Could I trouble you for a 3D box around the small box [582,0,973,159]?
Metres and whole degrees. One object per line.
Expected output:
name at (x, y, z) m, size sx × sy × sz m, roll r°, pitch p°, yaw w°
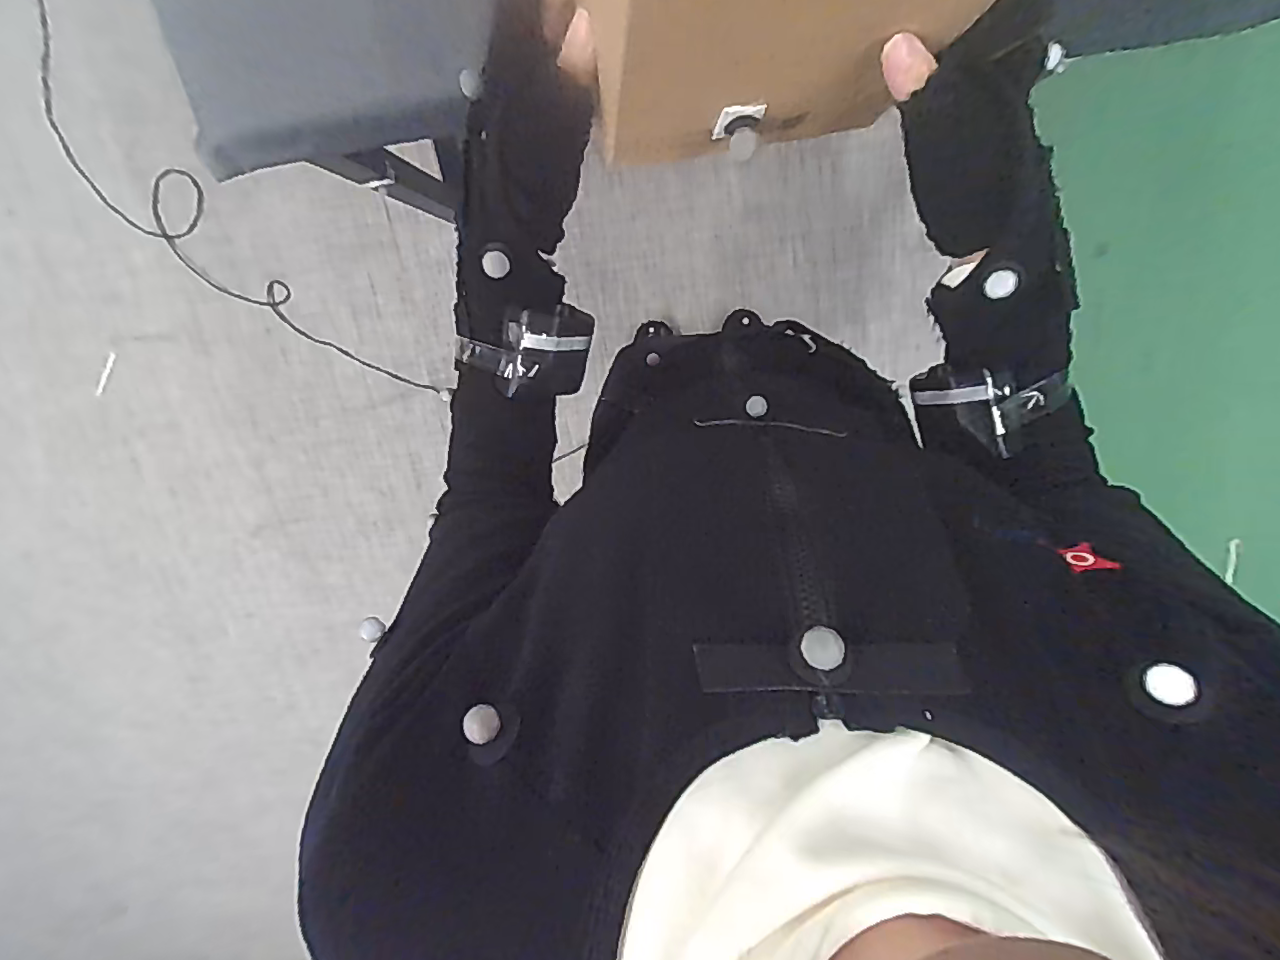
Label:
small box at (0.053, -0.279, 0.235) m, size 0.168 × 0.176 × 0.179 m, roll -13°, pitch 99°, yaw -3°
